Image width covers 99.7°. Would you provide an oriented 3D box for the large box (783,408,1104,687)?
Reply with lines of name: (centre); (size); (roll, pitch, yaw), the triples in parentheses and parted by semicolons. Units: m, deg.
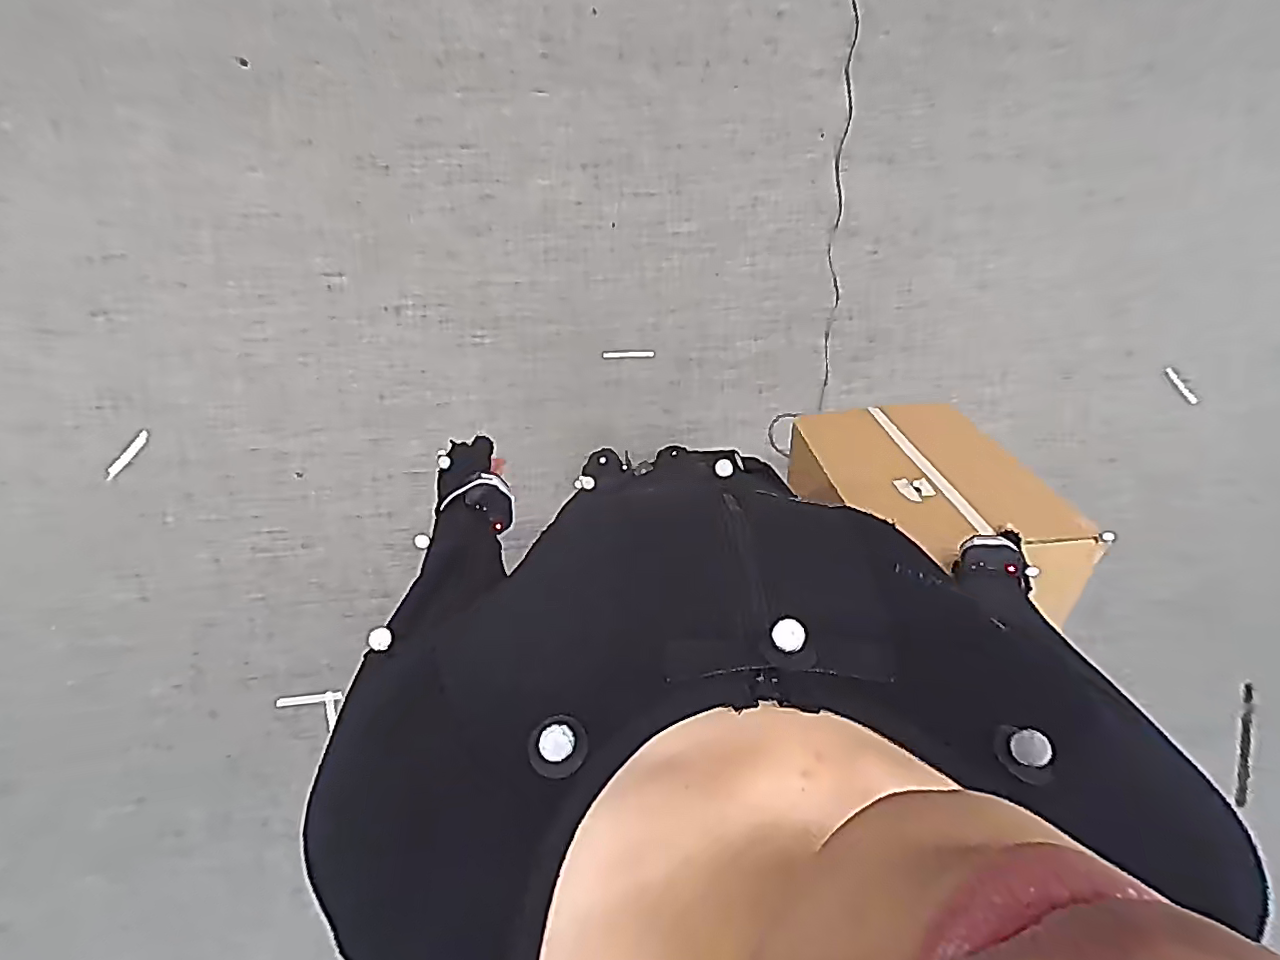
large box: (0.480, 0.104, 0.985); (0.320, 0.408, 0.320); (-5, 126, -1)
